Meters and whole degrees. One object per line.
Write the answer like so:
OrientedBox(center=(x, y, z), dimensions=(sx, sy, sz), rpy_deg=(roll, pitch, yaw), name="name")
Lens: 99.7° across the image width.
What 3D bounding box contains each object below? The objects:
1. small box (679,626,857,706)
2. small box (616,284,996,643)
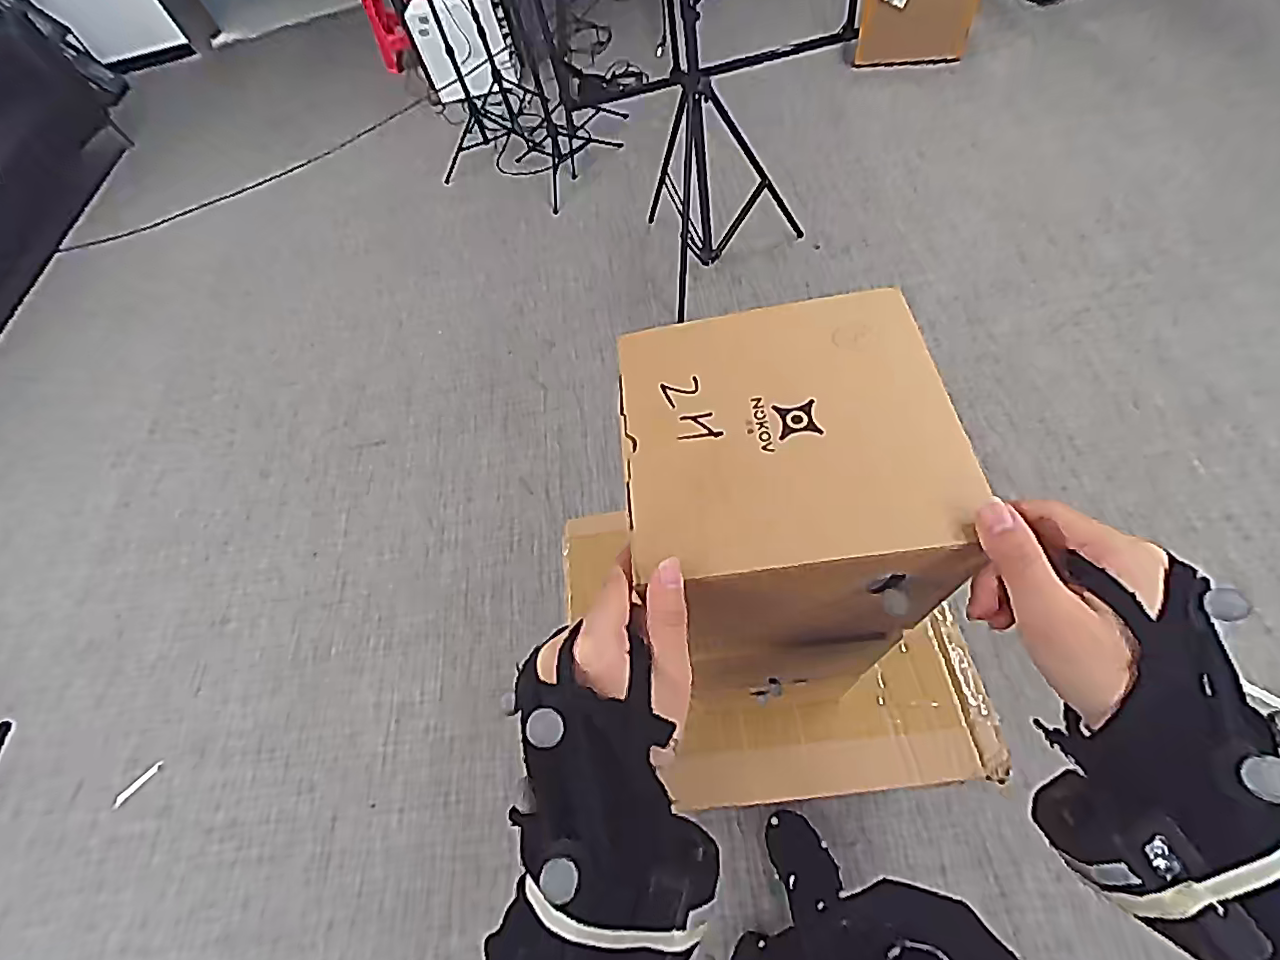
OrientedBox(center=(0.138, 0.167, 0.645), dimensions=(0.179, 0.176, 0.168), rpy_deg=(-8, 59, 6), name="small box")
OrientedBox(center=(0.087, 0.003, 0.364), dimensions=(0.179, 0.176, 0.168), rpy_deg=(-9, 59, 7), name="small box")
